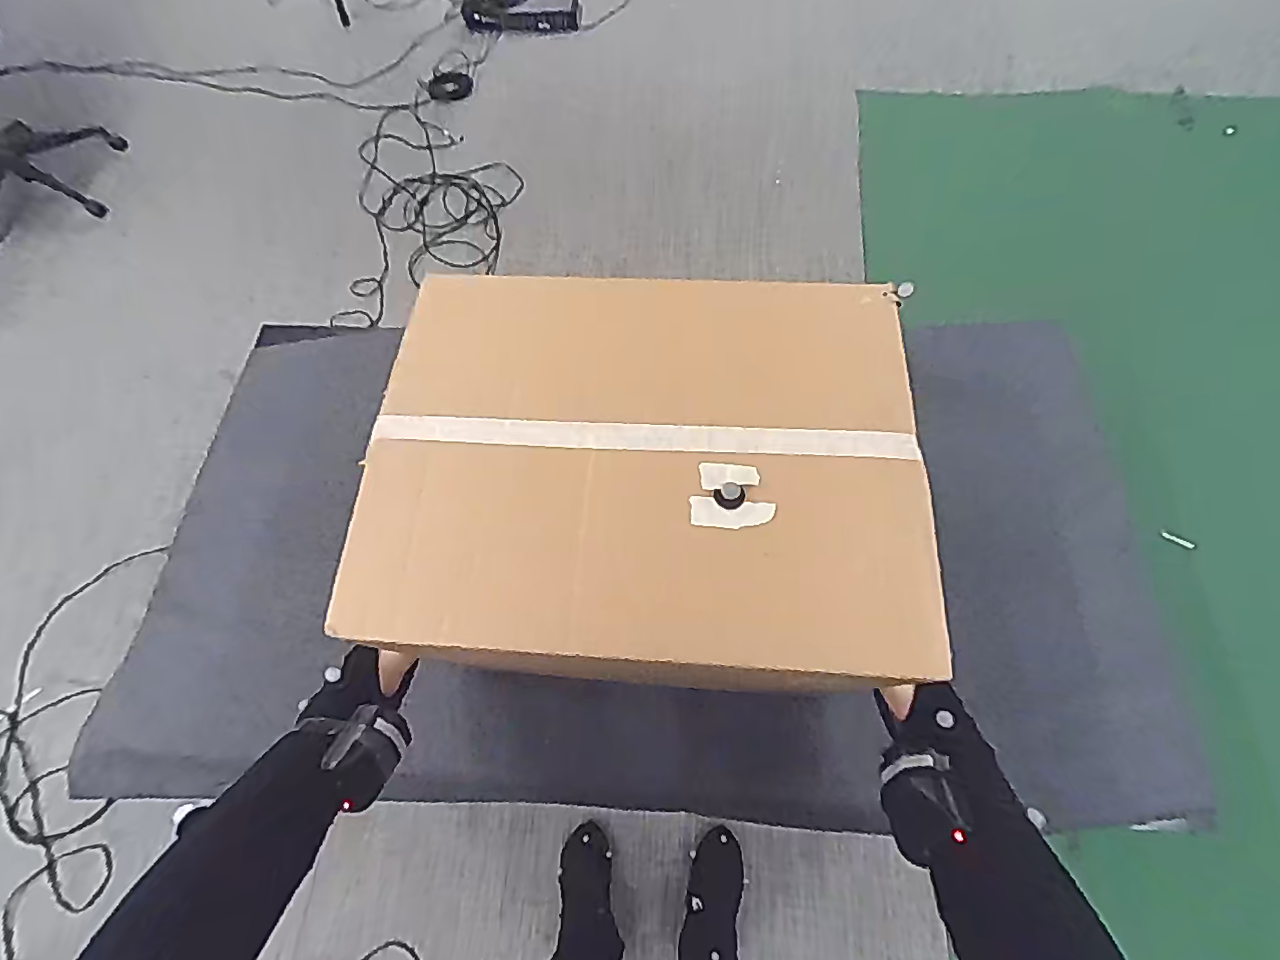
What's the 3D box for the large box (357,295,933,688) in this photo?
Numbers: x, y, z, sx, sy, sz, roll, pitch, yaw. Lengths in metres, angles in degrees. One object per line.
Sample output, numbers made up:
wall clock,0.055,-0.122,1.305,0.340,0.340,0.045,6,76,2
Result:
large box,0.010,0.036,0.561,0.408,0.320,0.320,3,68,3
